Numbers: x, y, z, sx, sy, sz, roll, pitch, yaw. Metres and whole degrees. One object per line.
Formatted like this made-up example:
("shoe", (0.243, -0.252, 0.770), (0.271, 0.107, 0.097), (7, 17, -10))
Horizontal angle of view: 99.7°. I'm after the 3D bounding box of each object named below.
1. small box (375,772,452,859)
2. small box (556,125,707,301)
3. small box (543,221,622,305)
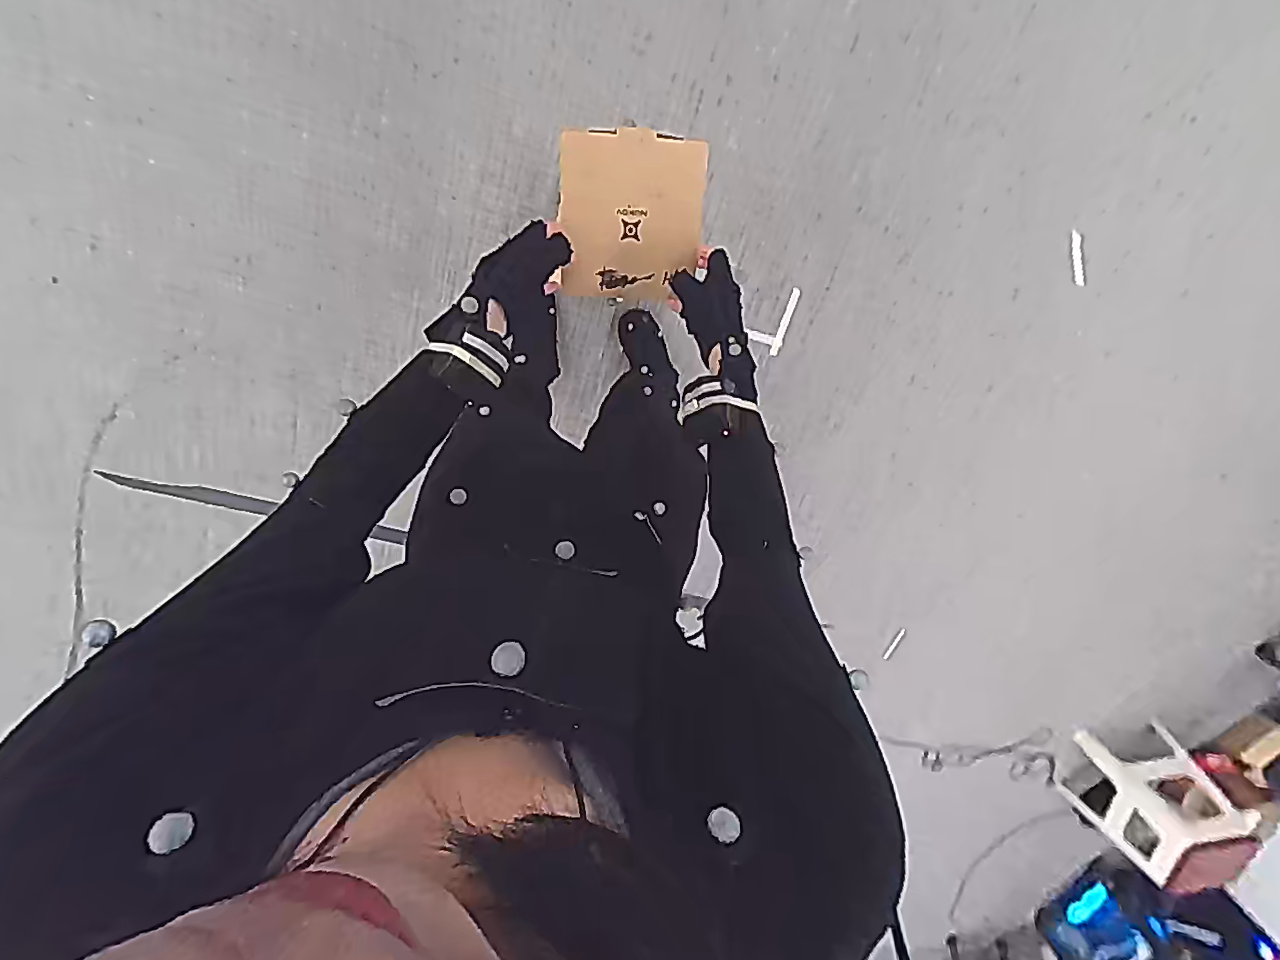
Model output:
("small box", (-0.710, 1.058, 1.709), (0.179, 0.176, 0.168), (17, 113, -13))
("small box", (-0.023, -0.340, 0.692), (0.168, 0.176, 0.179), (0, 121, -8))
("small box", (-0.114, -0.512, 1.230), (0.179, 0.176, 0.168), (12, 113, -11))
